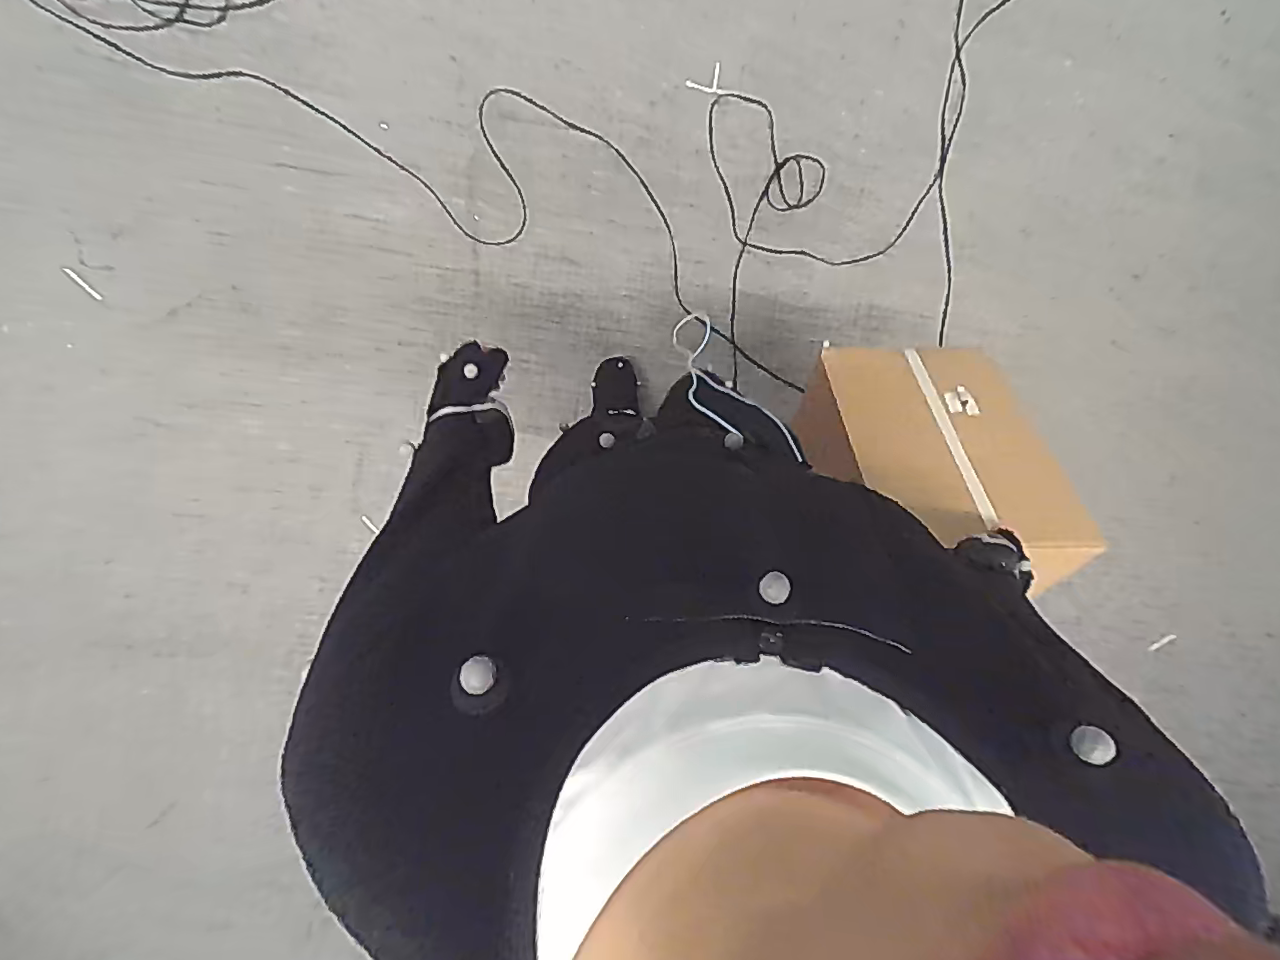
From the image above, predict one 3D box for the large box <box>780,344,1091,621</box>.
[{"bbox_3d":[0.469,0.008,0.980,0.320,0.408,0.320,0,145,-3],"label":"large box"}]
